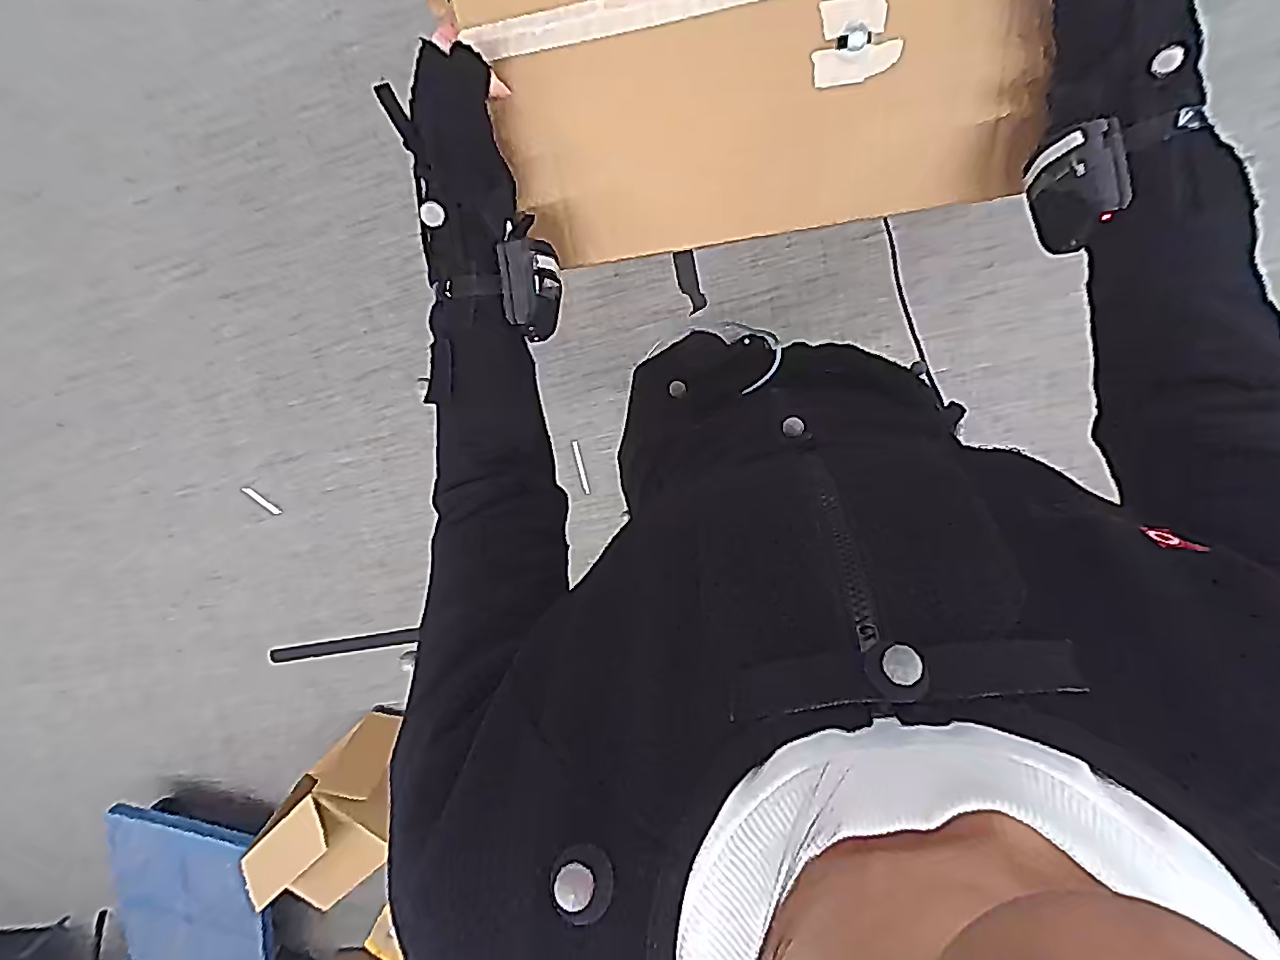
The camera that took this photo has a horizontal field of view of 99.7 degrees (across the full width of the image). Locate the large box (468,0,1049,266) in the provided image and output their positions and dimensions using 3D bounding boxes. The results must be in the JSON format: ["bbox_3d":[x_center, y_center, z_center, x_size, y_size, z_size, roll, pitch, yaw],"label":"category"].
[{"bbox_3d":[0.084,-0.408,0.507,0.408,0.320,0.320,-7,116,7],"label":"large box"}]
